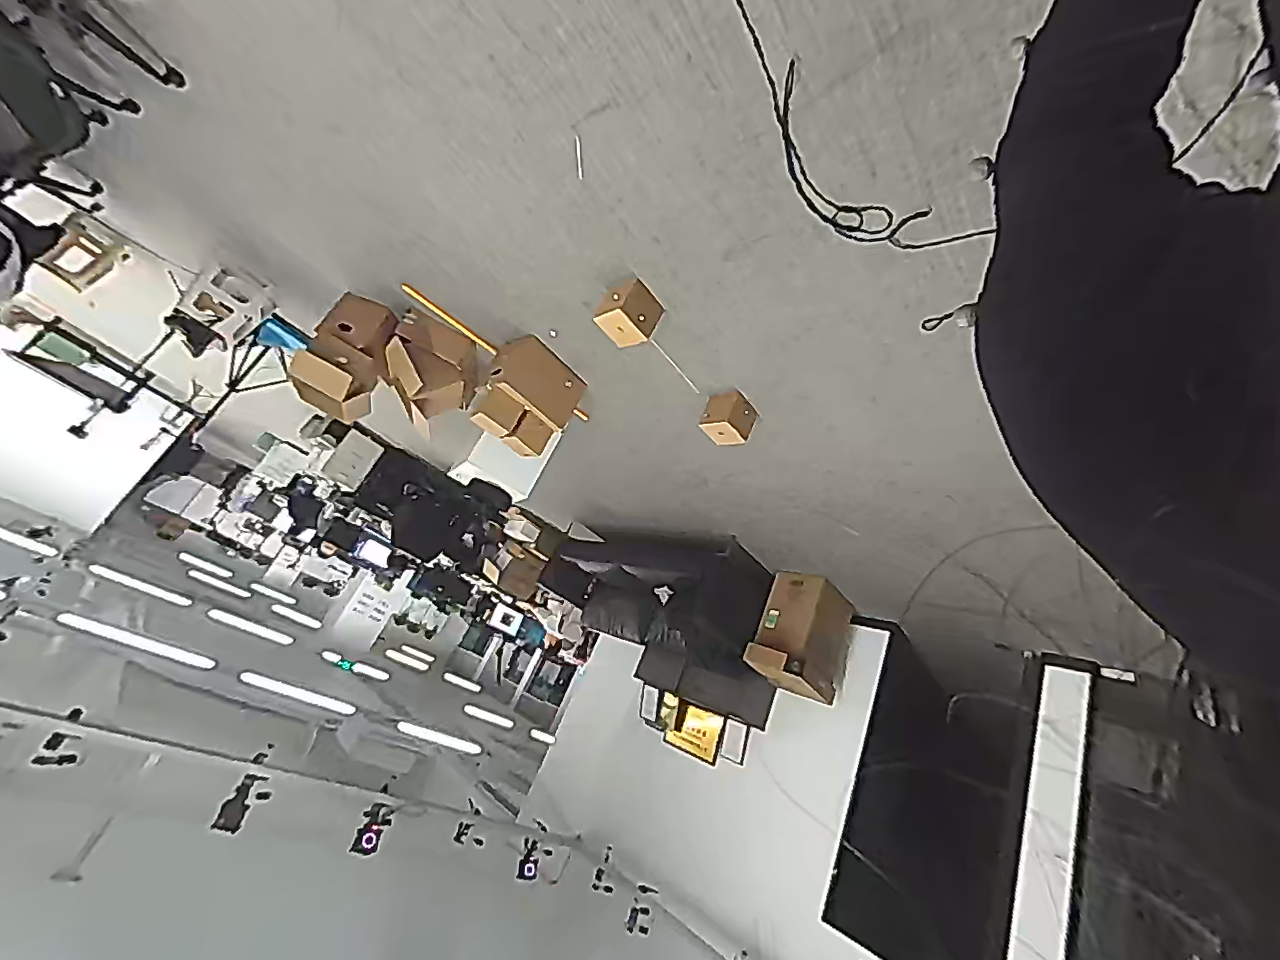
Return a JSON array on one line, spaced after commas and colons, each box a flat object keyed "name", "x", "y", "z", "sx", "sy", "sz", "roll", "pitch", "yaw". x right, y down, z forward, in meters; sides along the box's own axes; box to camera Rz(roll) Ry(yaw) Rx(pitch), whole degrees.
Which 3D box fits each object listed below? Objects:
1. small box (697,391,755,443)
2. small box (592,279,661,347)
[{"name": "small box", "x": 0.396, "y": -0.288, "z": 2.473, "sx": 0.179, "sy": 0.176, "sz": 0.168, "roll": -1, "pitch": 147, "yaw": 48}, {"name": "small box", "x": -0.048, "y": -0.653, "z": 2.100, "sx": 0.168, "sy": 0.176, "sz": 0.179, "roll": -1, "pitch": 147, "yaw": 48}]
